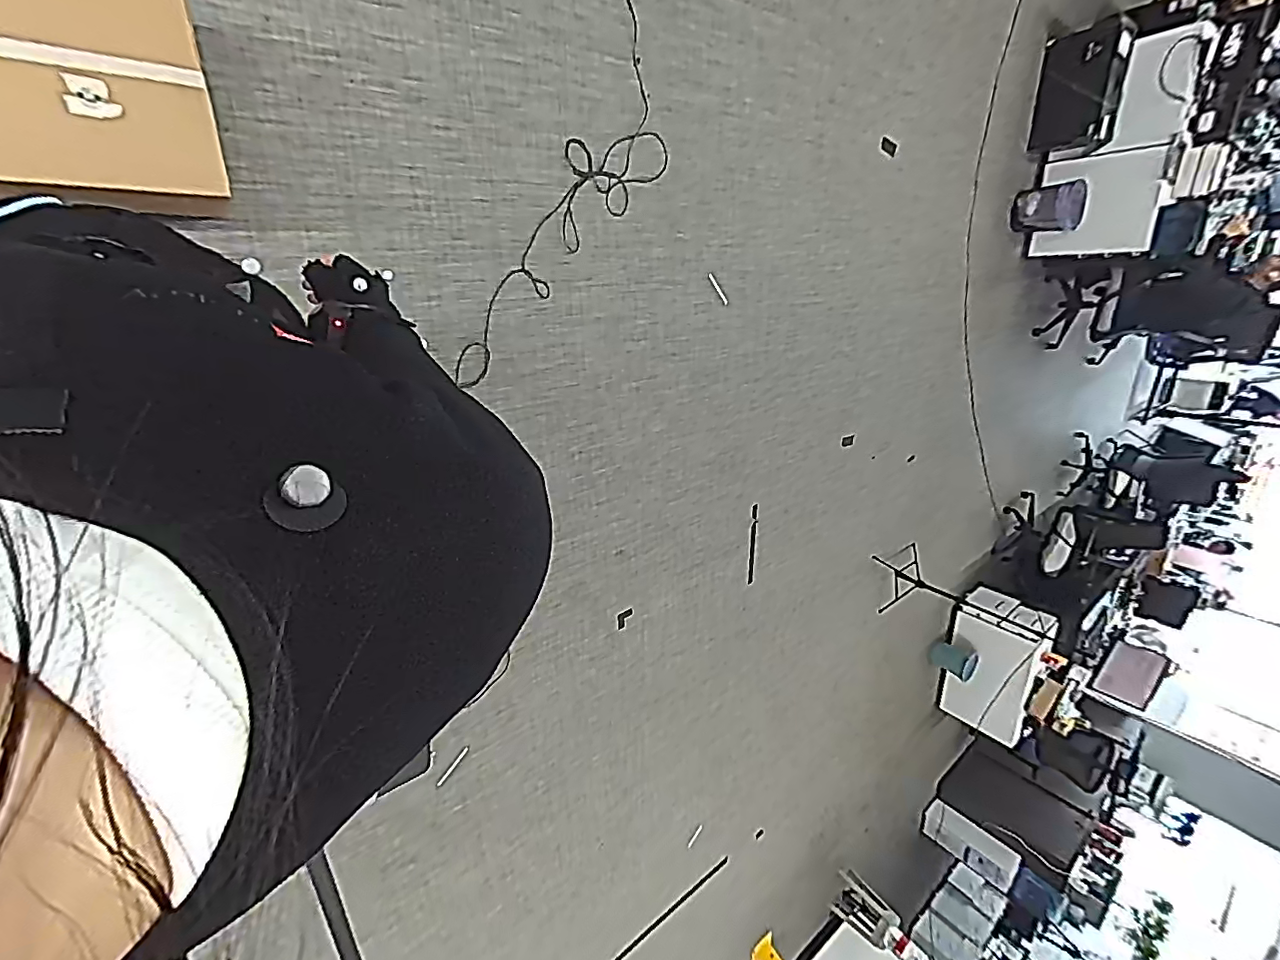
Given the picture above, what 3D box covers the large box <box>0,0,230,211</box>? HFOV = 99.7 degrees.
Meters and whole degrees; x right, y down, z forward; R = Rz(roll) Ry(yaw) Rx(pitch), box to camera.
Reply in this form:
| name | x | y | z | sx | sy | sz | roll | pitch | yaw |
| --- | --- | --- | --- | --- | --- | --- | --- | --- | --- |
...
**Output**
| name | x | y | z | sx | sy | sz | roll | pitch | yaw |
| --- | --- | --- | --- | --- | --- | --- | --- | --- | --- |
| large box | -0.907 | -0.599 | 0.810 | 0.408 | 0.320 | 0.320 | -16 | 115 | -36 |
